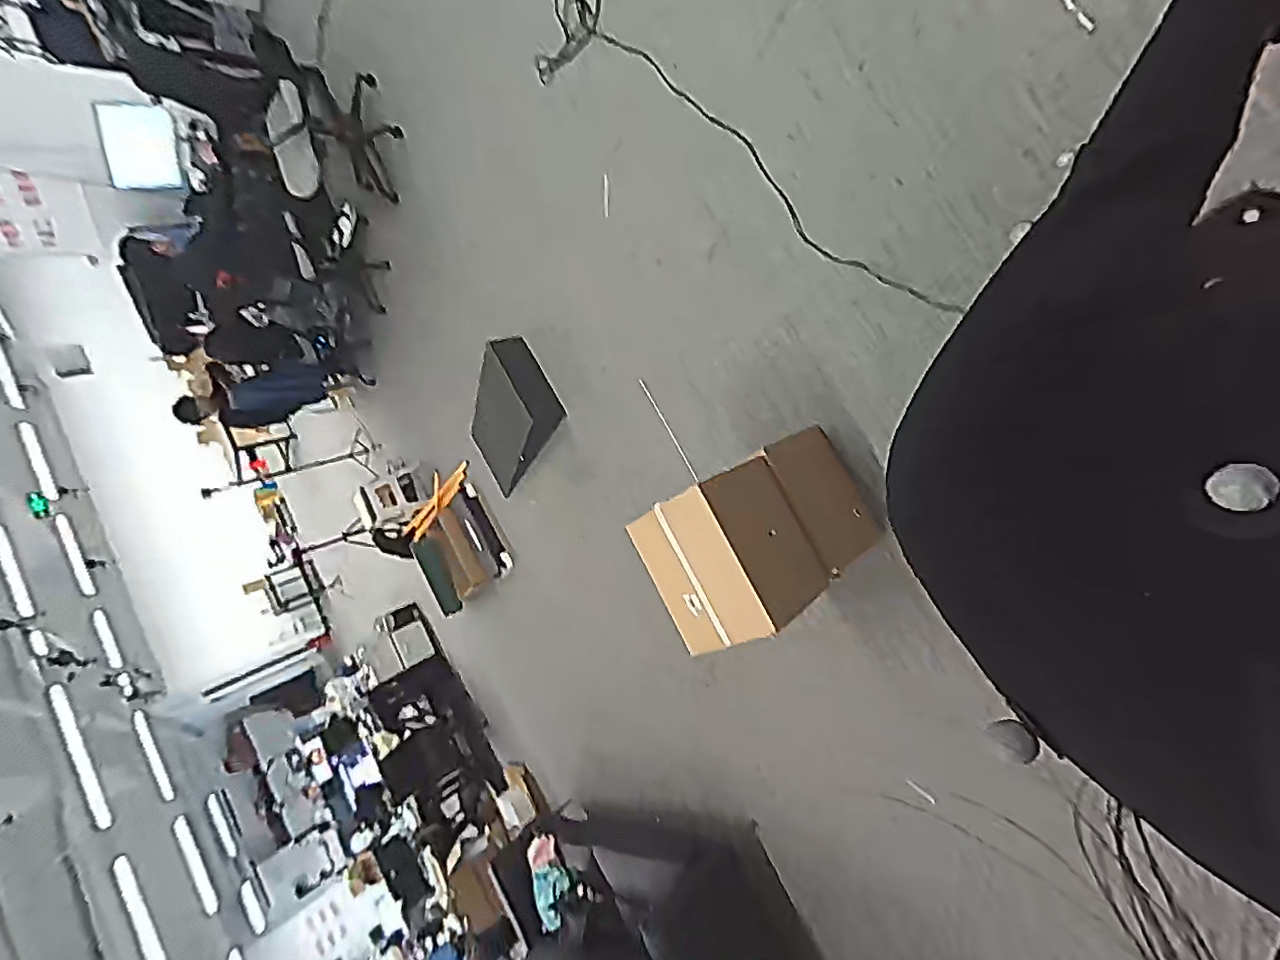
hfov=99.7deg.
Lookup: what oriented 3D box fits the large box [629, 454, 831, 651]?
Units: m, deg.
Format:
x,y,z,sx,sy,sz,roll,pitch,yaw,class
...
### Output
x,y,z,sx,sy,sz,roll,pitch,yaw,class
0.248,0.194,1.496,0.320,0.320,0.408,-35,81,46,large box
